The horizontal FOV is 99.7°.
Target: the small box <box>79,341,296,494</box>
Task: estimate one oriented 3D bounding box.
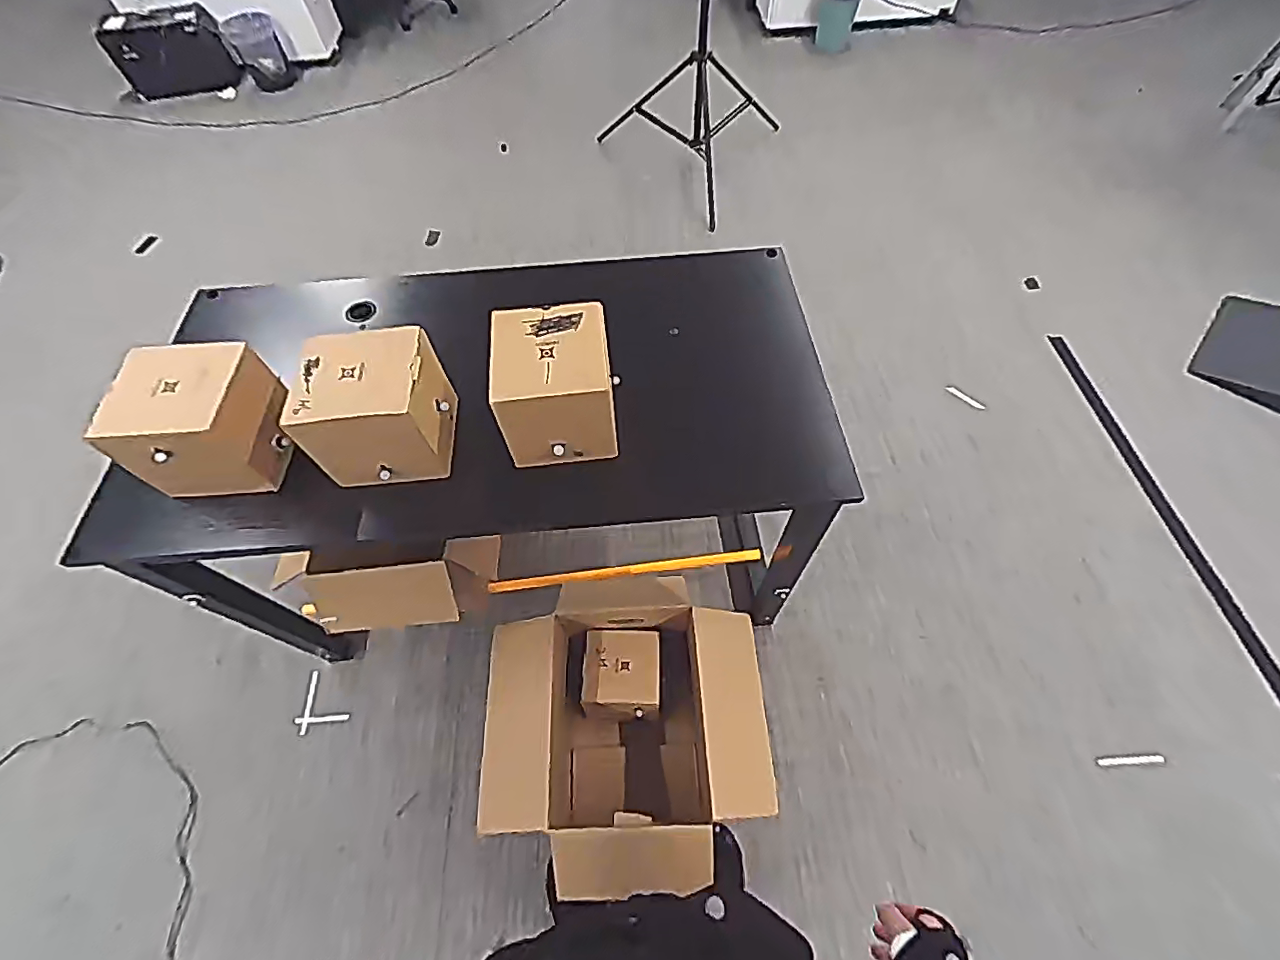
[{"bbox_3d":[-0.659,-0.088,0.823,0.179,0.176,0.168,-4,60,-1],"label":"small box"}]

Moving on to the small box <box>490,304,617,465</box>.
[{"bbox_3d":[-0.126,-0.144,0.837,0.168,0.176,0.179,-6,59,-1],"label":"small box"}]

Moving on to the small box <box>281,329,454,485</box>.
[{"bbox_3d":[-0.396,-0.106,0.825,0.179,0.176,0.168,-5,59,-3],"label":"small box"}]
